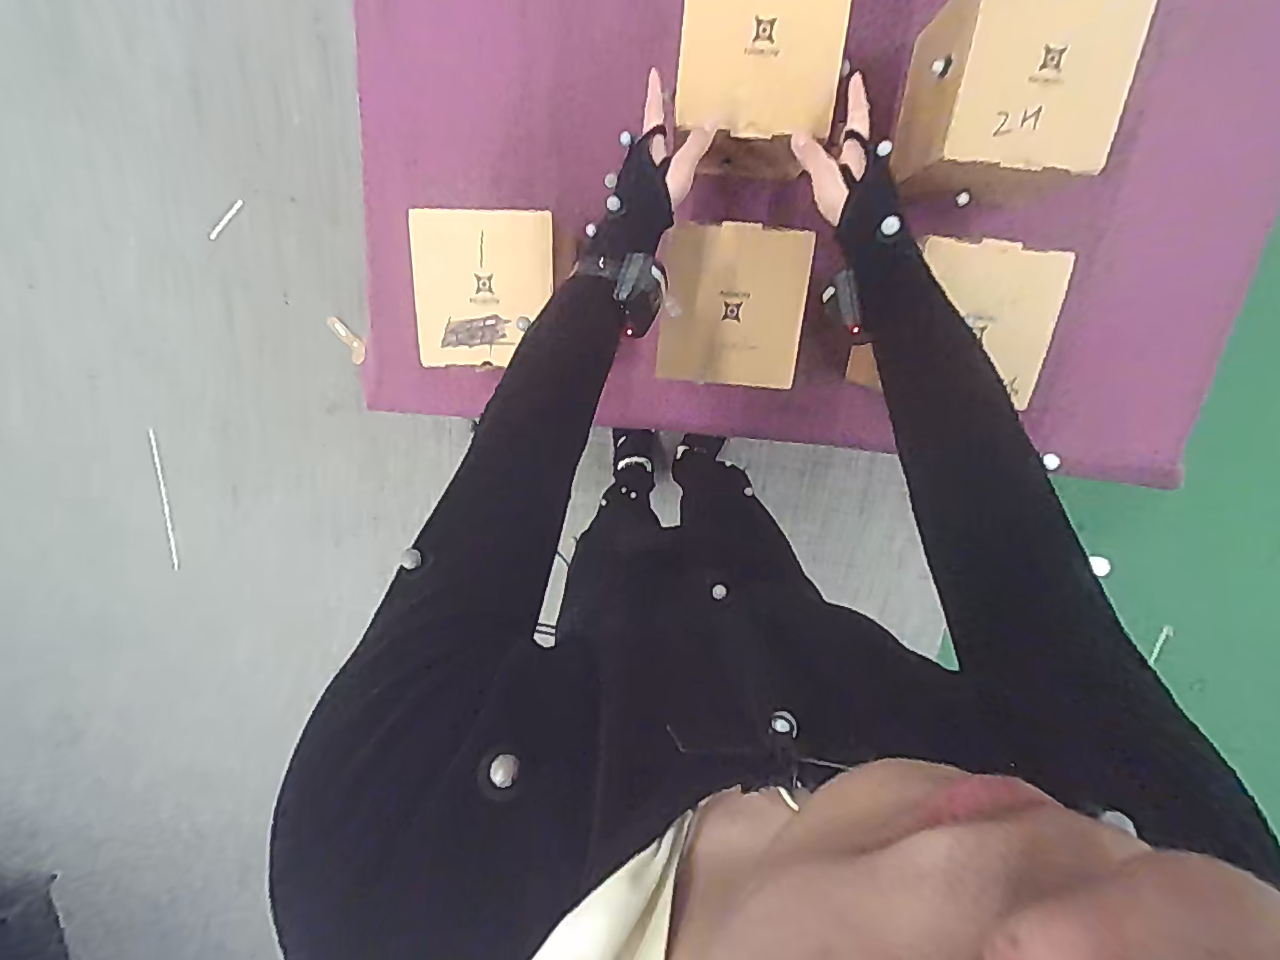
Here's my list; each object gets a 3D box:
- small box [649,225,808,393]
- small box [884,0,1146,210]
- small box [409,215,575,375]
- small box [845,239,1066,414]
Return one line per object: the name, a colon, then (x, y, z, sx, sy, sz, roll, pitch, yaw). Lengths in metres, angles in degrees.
small box: (0.105, -0.217, 0.703, 0.168, 0.176, 0.179, 6, 107, 3)
small box: (0.402, -0.427, 0.617, 0.168, 0.176, 0.179, 7, 107, 3)
small box: (-0.182, -0.236, 0.714, 0.168, 0.176, 0.179, 3, 104, 3)
small box: (0.379, -0.191, 0.689, 0.168, 0.176, 0.179, 8, 106, 2)
